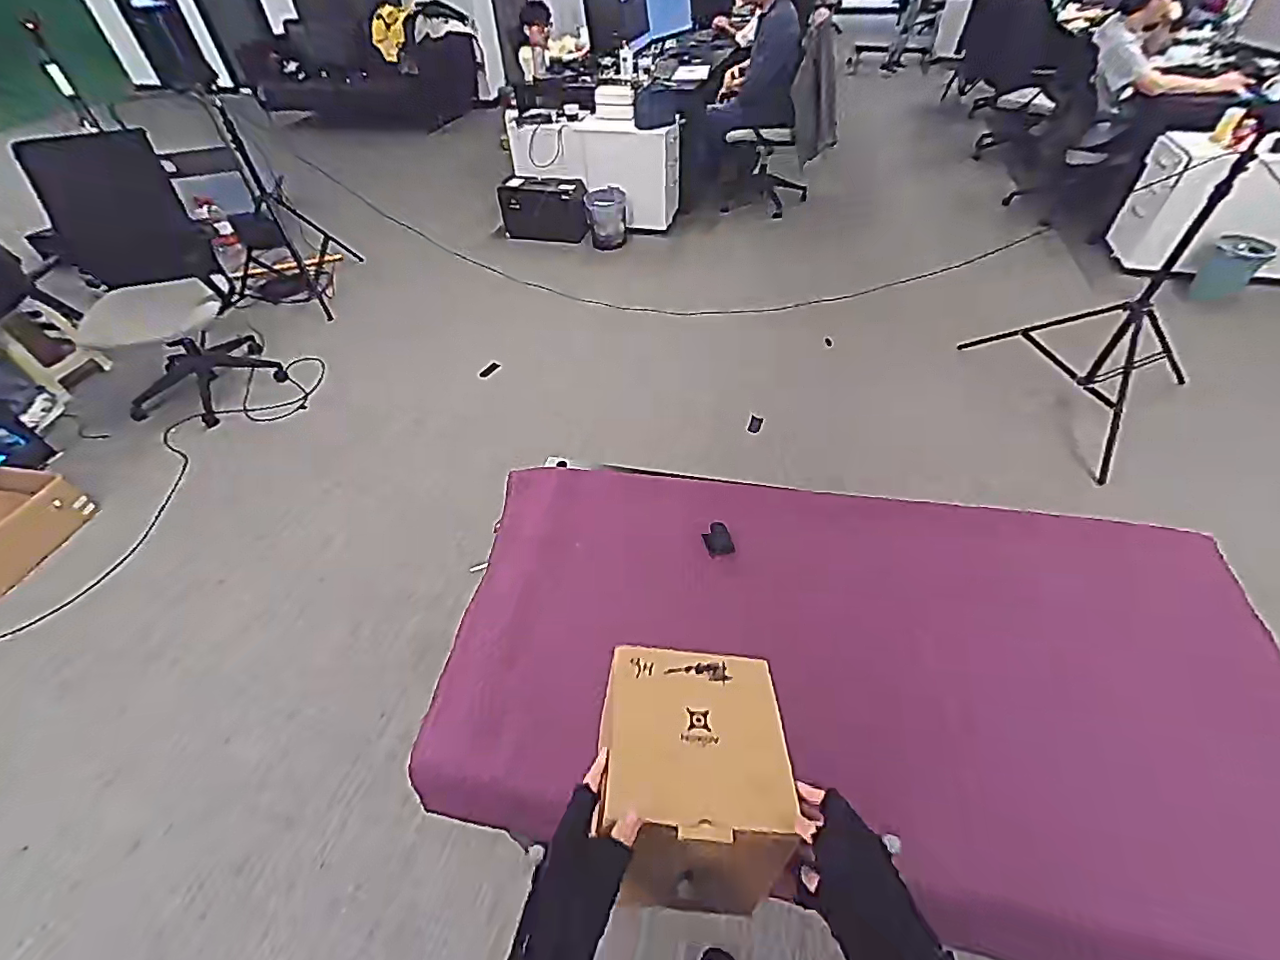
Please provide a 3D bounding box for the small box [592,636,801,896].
[{"bbox_3d":[0.044,0.289,0.549,0.168,0.176,0.179,8,34,-4],"label":"small box"}]
